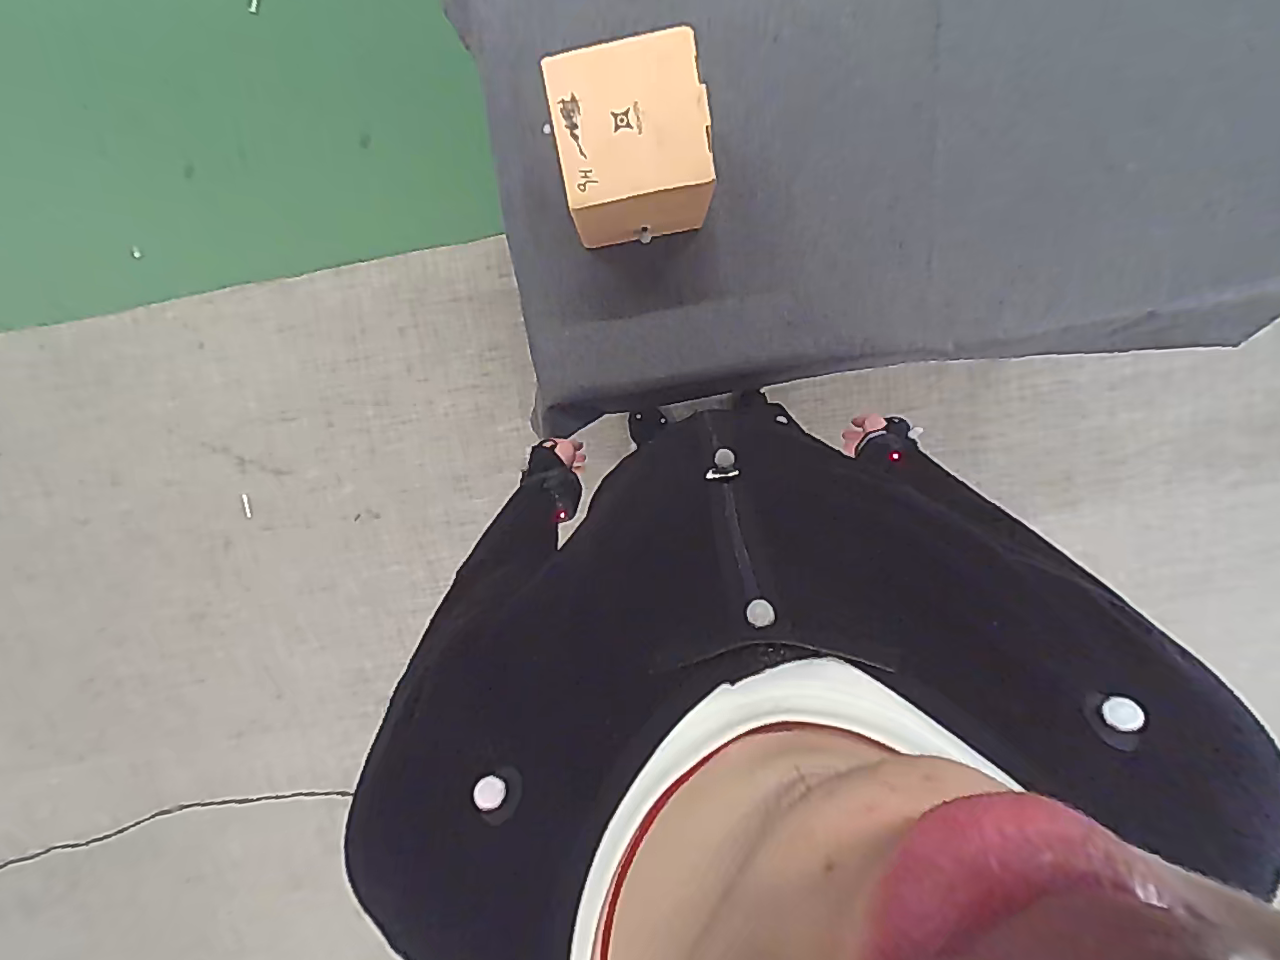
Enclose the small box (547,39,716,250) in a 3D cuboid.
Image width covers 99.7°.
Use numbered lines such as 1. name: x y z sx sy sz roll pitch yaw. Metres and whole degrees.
1. small box: -0.010 -0.416 0.701 0.179 0.176 0.168 -10 98 1
